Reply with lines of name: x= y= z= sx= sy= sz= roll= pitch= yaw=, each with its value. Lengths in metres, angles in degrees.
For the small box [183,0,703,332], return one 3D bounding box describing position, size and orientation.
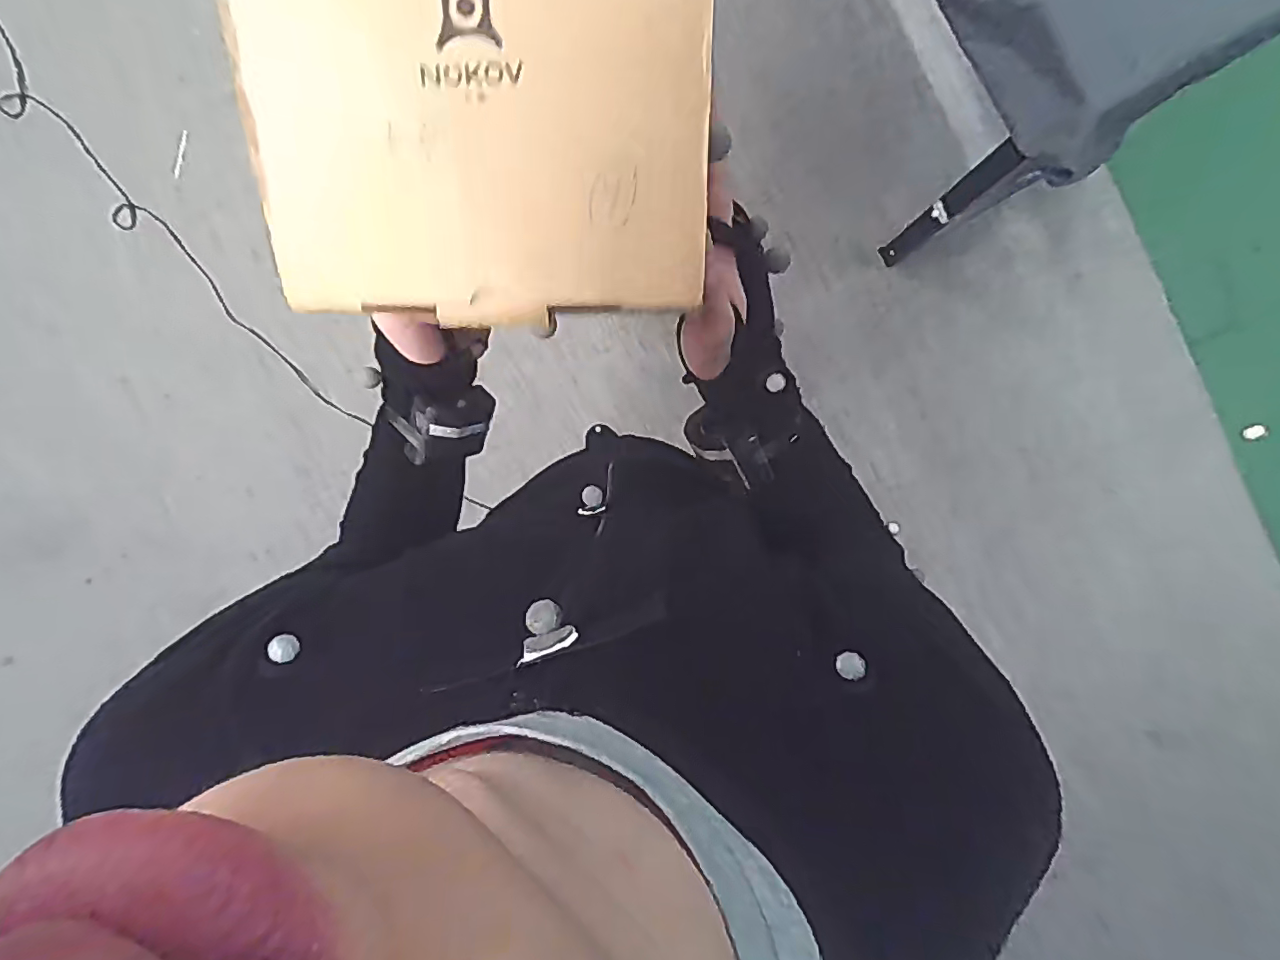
small box: x=-0.058 y=-0.168 z=0.246 sx=0.168 sy=0.176 sz=0.179 roll=0 pitch=112 yaw=2
